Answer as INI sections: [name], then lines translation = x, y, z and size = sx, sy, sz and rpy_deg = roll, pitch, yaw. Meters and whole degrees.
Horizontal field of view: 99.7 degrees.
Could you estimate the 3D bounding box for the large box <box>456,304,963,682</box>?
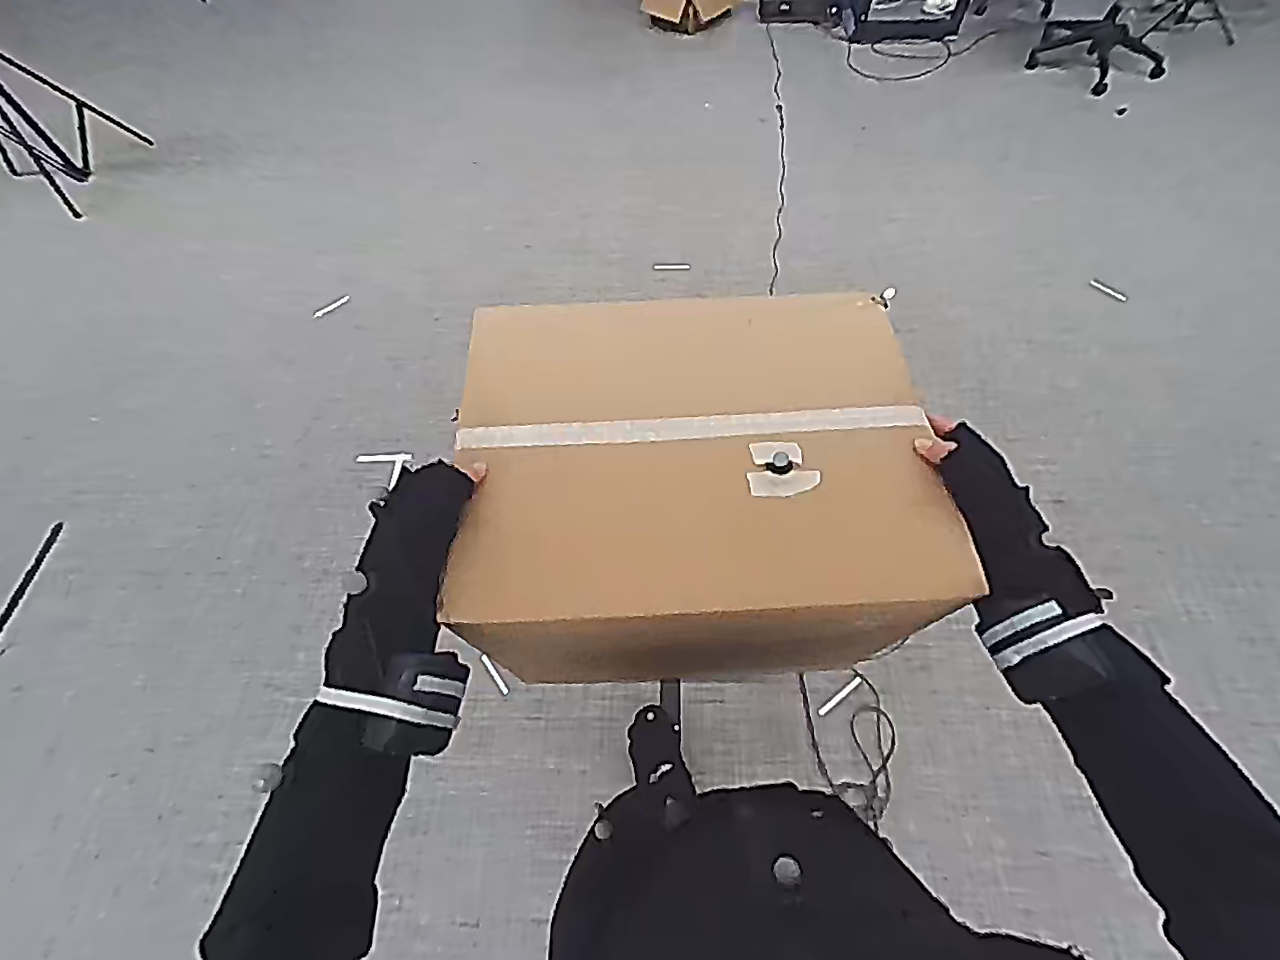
[large box]
translation = 0.046, 0.033, 0.616
size = 0.408, 0.320, 0.320
rpy_deg = -3, 62, -1
